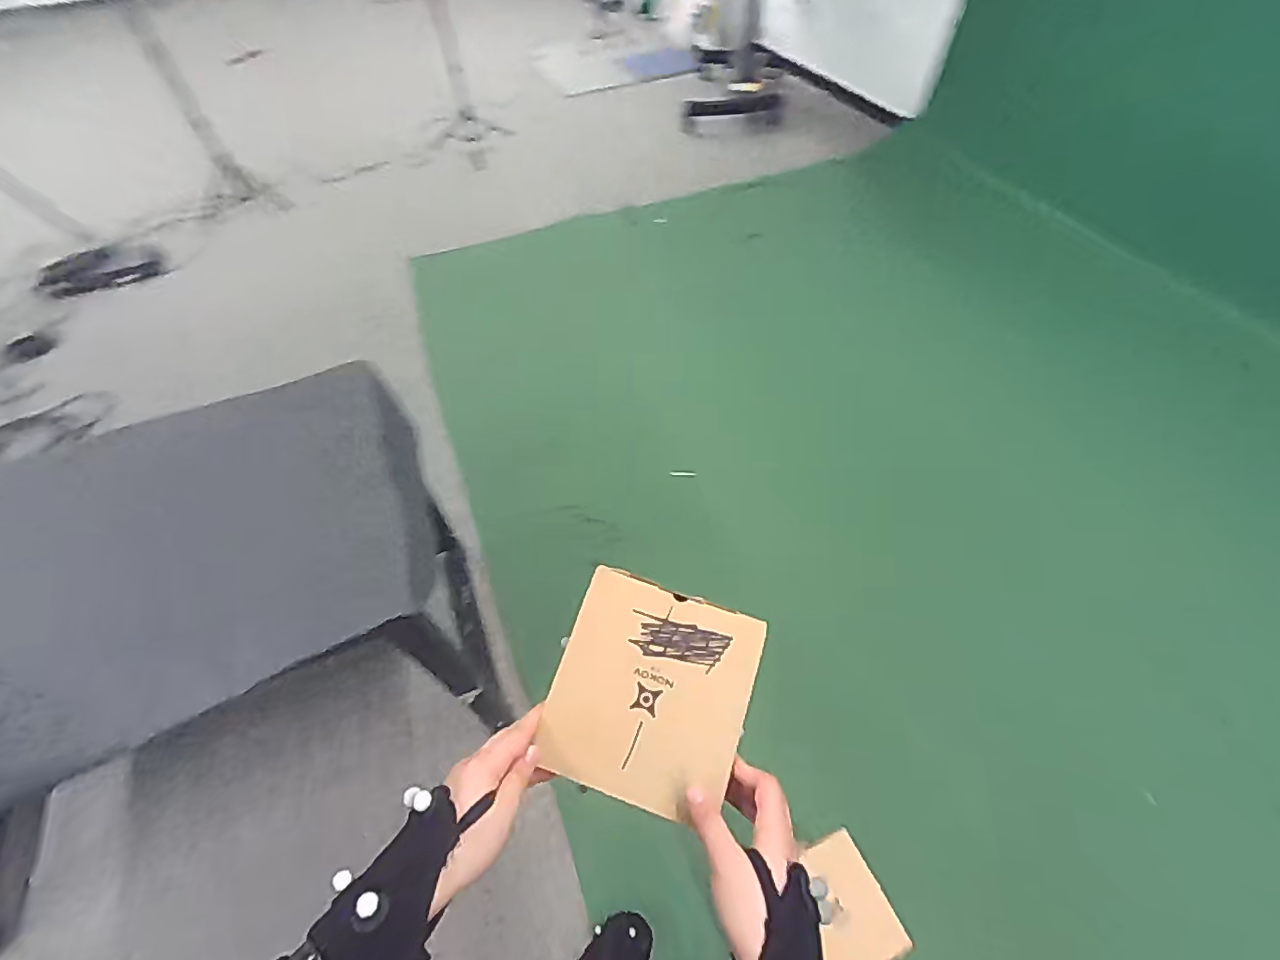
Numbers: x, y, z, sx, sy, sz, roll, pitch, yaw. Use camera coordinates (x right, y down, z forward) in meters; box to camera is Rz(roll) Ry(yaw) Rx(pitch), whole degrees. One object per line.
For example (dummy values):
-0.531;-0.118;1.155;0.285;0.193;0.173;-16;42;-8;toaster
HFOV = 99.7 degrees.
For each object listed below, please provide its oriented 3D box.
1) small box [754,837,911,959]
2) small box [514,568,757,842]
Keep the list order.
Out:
0.316;0.749;0.927;0.168;0.176;0.179;-21;54;-14;small box
-0.001;0.208;0.528;0.168;0.176;0.179;17;70;7;small box
